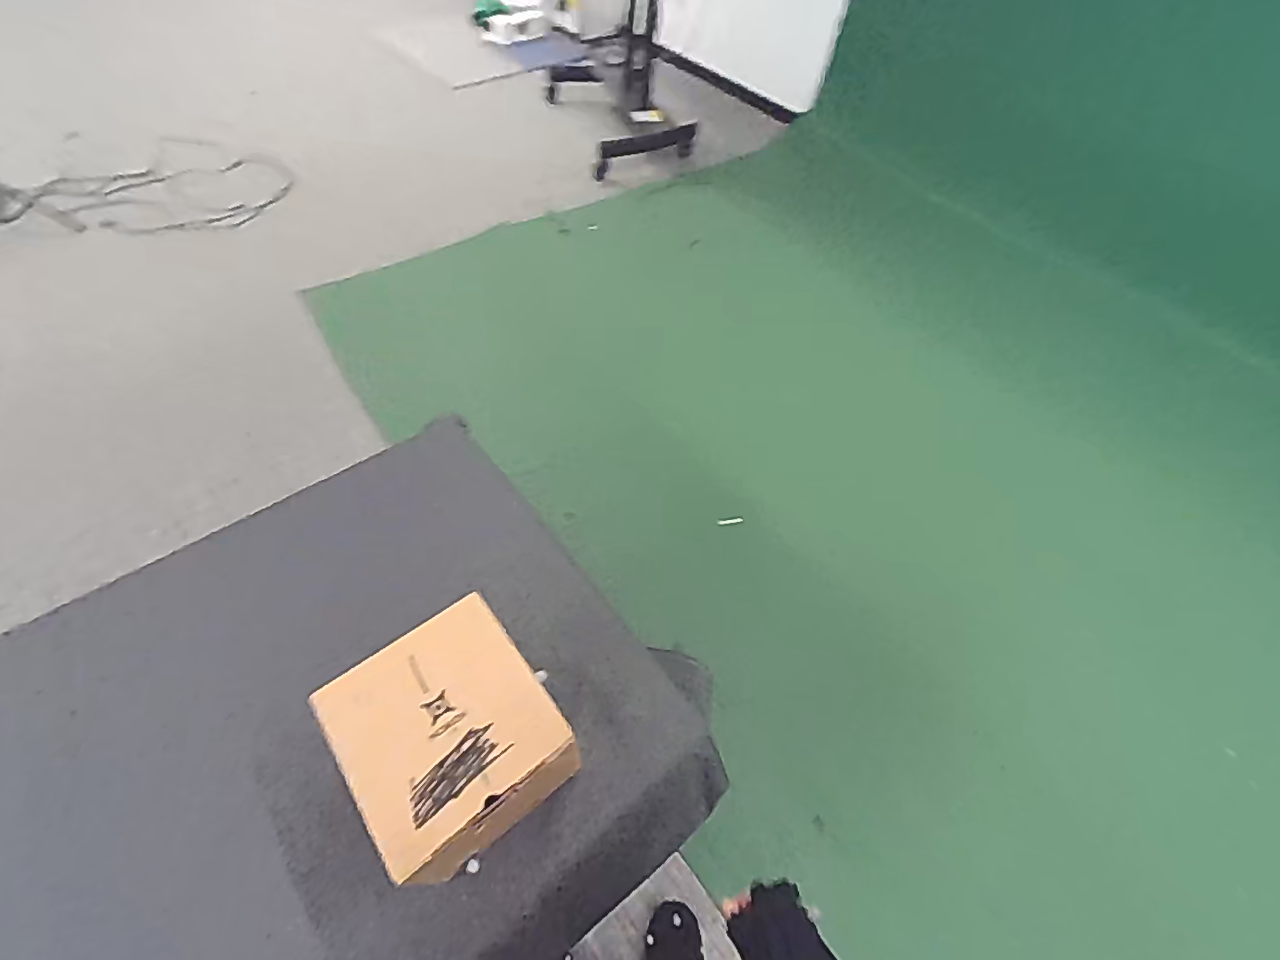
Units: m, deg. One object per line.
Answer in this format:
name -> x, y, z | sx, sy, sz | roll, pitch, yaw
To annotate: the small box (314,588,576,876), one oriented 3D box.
small box -> -0.176, 0.247, 0.538 | 0.168, 0.176, 0.179 | -33, 62, -24
